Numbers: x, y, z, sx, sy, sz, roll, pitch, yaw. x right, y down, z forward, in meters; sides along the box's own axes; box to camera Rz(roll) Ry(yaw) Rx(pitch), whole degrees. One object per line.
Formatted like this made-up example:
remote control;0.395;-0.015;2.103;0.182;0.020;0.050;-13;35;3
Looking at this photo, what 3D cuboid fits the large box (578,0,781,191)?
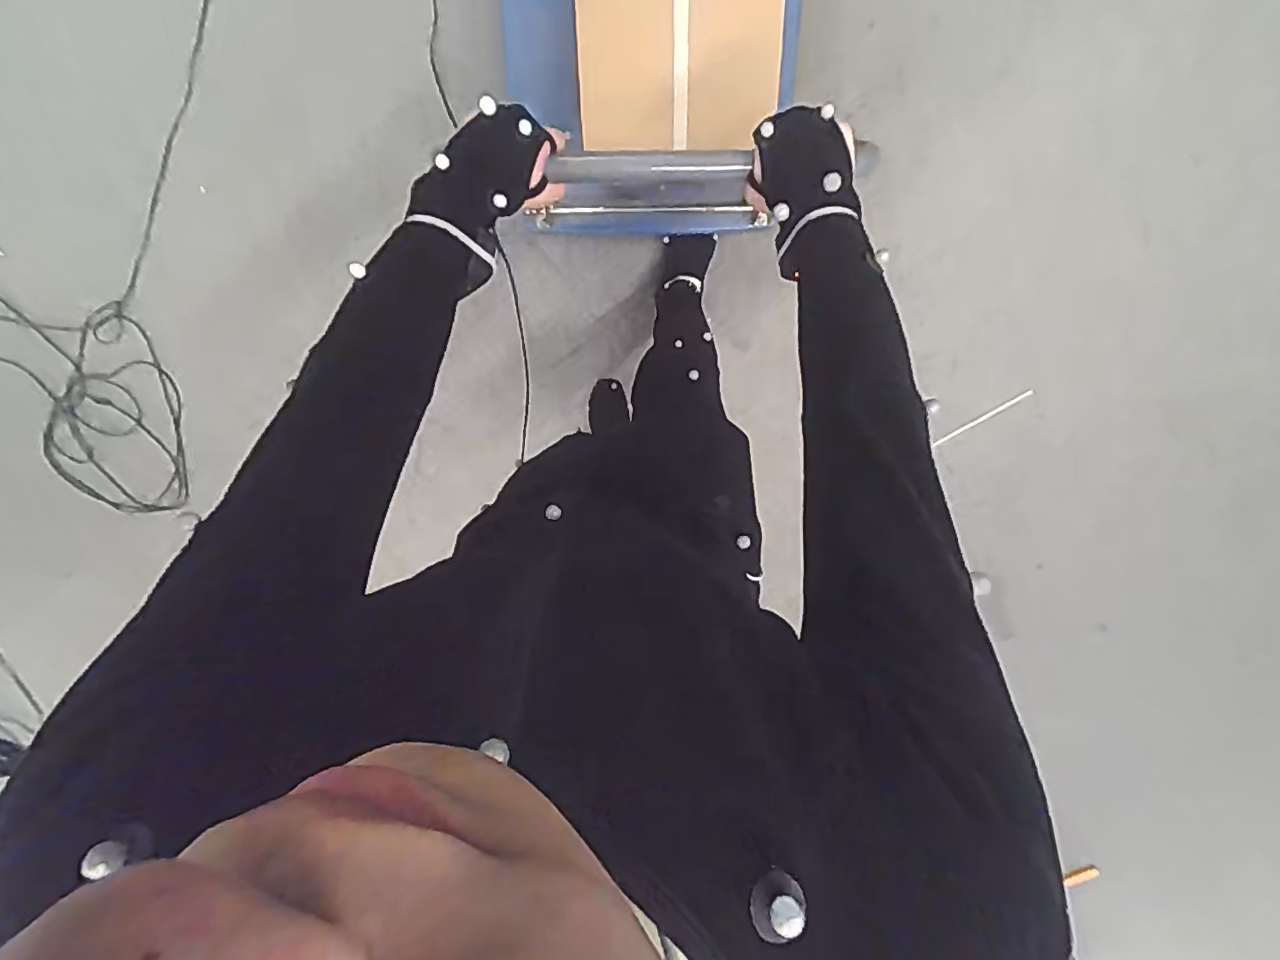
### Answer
large box;0.065;-0.762;0.967;0.320;0.320;0.408;0;113;1
